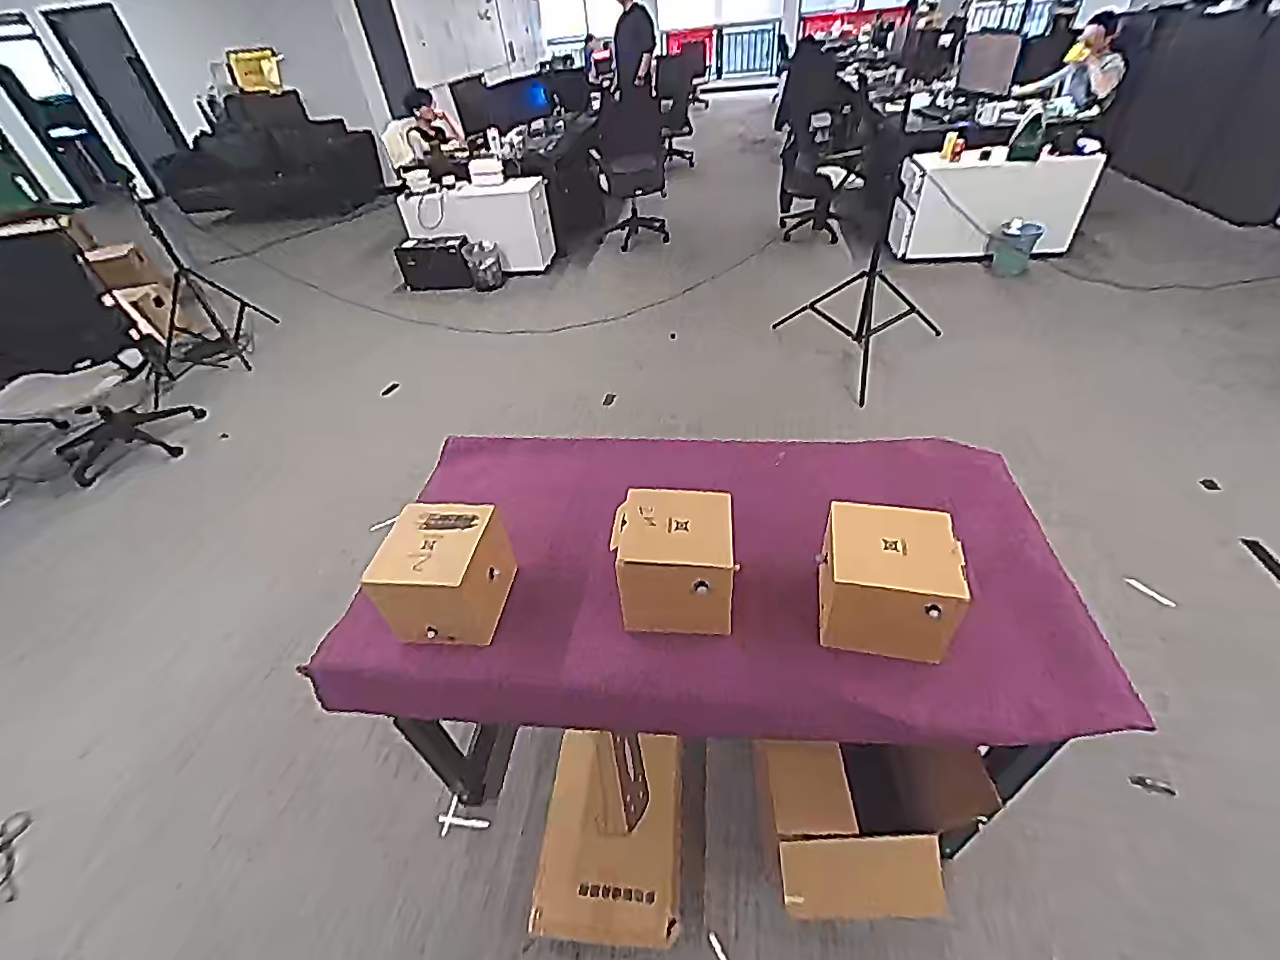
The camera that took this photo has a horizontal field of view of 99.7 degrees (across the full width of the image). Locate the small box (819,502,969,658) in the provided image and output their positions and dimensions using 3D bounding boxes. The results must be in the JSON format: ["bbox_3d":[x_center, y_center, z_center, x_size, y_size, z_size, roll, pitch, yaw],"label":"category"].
[{"bbox_3d":[0.376,0.155,0.839,0.179,0.176,0.168,5,42,13],"label":"small box"}]

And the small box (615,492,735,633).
[{"bbox_3d":[0.063,0.138,0.898,0.179,0.176,0.168,0,39,7],"label":"small box"}]
